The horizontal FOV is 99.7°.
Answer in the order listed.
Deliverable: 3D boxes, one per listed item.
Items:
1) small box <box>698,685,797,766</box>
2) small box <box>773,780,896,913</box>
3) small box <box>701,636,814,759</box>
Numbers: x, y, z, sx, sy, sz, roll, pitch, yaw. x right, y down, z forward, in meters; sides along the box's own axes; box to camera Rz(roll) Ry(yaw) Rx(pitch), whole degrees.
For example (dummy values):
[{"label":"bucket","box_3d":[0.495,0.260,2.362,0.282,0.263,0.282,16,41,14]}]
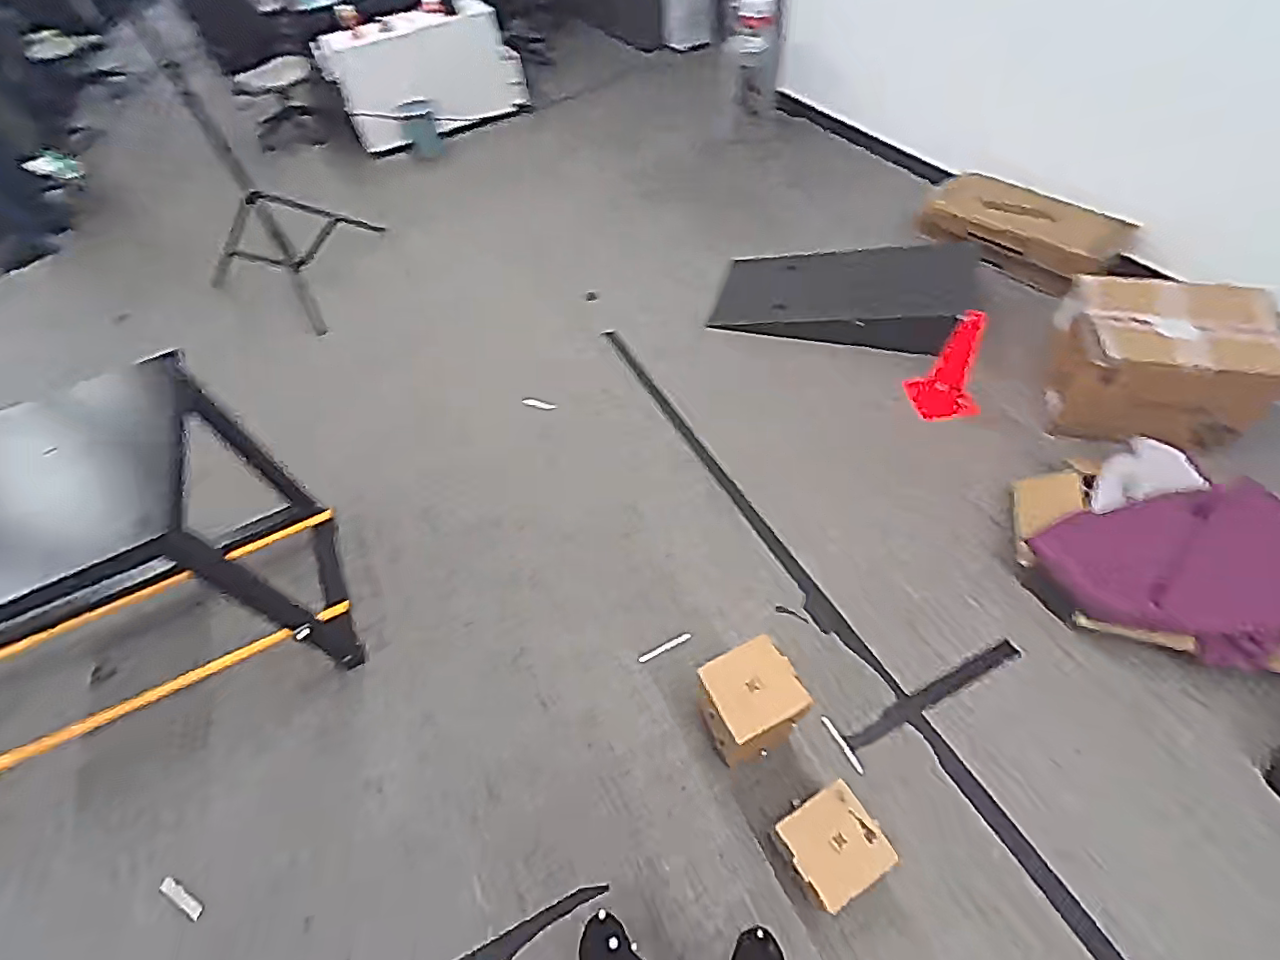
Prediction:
[{"label":"small box","box_3d":[0.254,0.565,1.302,0.168,0.176,0.179,-23,54,-10]},{"label":"small box","box_3d":[0.396,0.768,1.136,0.179,0.176,0.168,-28,55,-12]},{"label":"small box","box_3d":[0.245,0.473,1.168,0.179,0.176,0.168,-25,53,-10]}]
